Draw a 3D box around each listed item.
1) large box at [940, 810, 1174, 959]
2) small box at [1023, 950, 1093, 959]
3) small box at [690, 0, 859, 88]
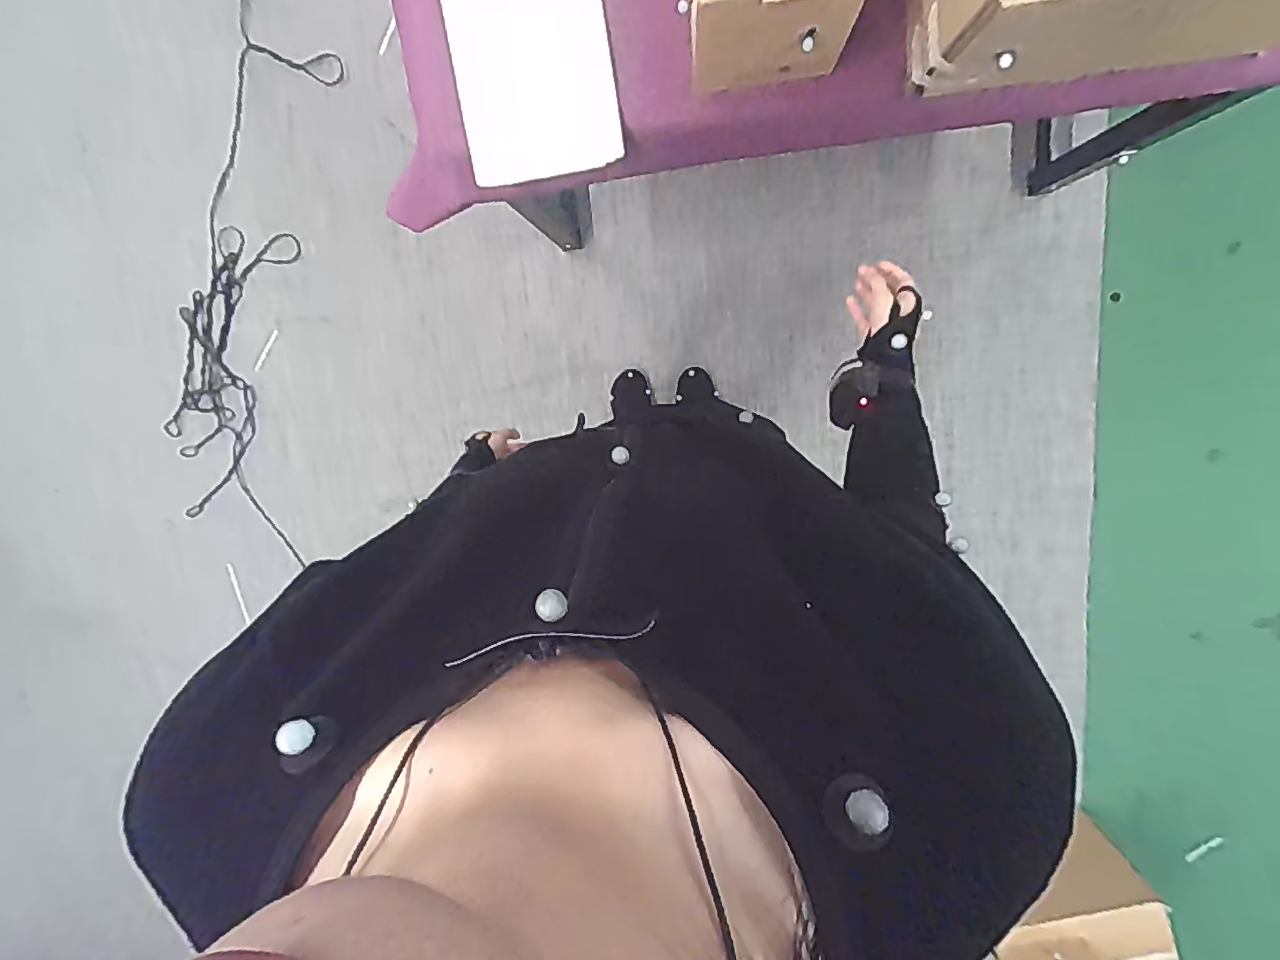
[{"bbox_3d":[1.139,1.204,1.504,0.408,0.320,0.320,-20,100,8],"label":"large box"},{"bbox_3d":[1.030,1.264,1.276,0.179,0.176,0.168,-15,100,9],"label":"small box"},{"bbox_3d":[0.136,-0.545,0.565,0.168,0.176,0.179,-4,100,6],"label":"small box"}]
